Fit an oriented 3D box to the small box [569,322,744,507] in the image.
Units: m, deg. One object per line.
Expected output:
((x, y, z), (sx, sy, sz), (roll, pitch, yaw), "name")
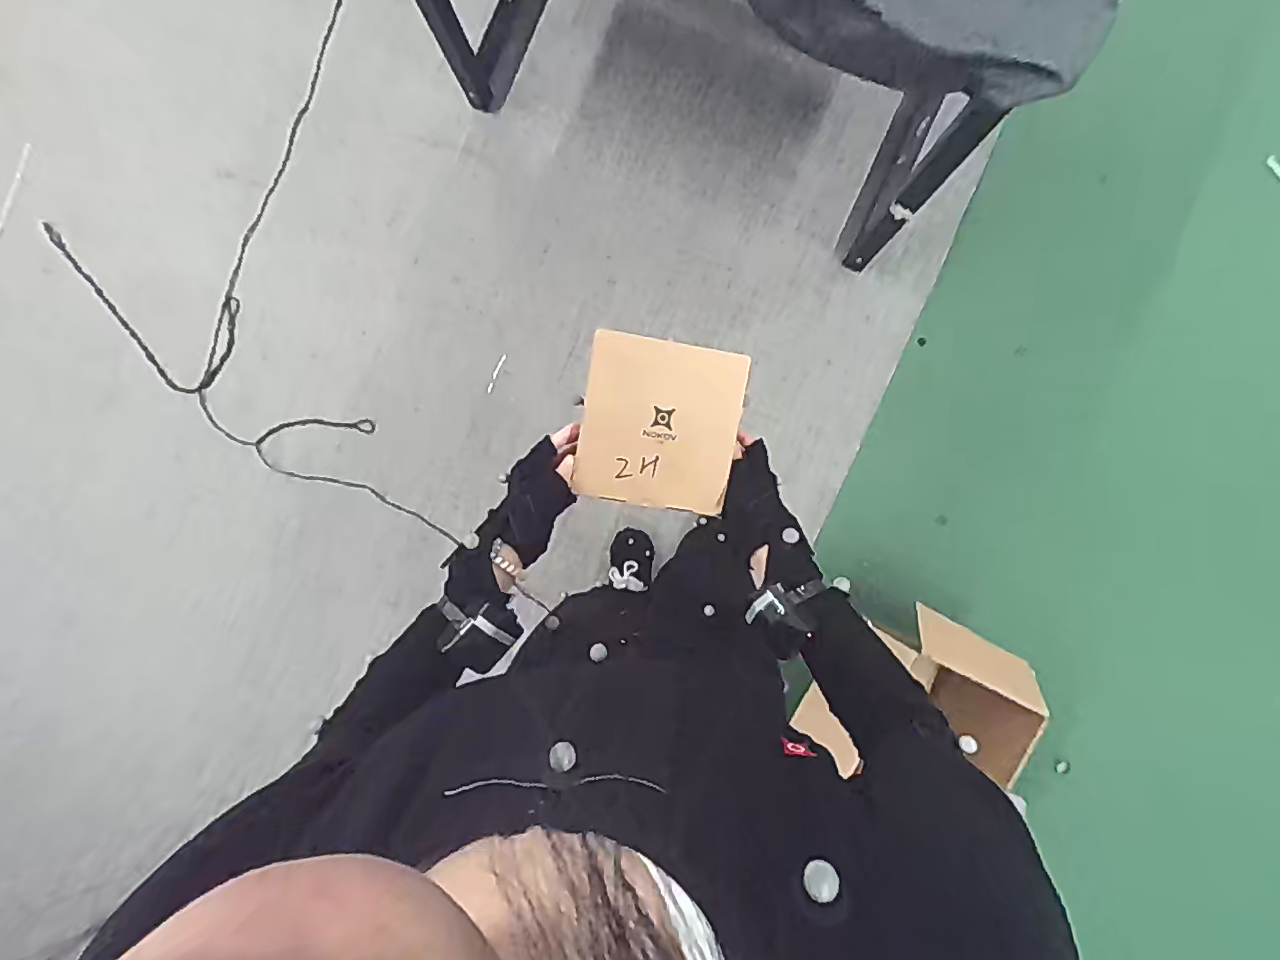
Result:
((0.011, -0.079, 0.652), (0.168, 0.176, 0.179), (9, 99, -5), "small box")
